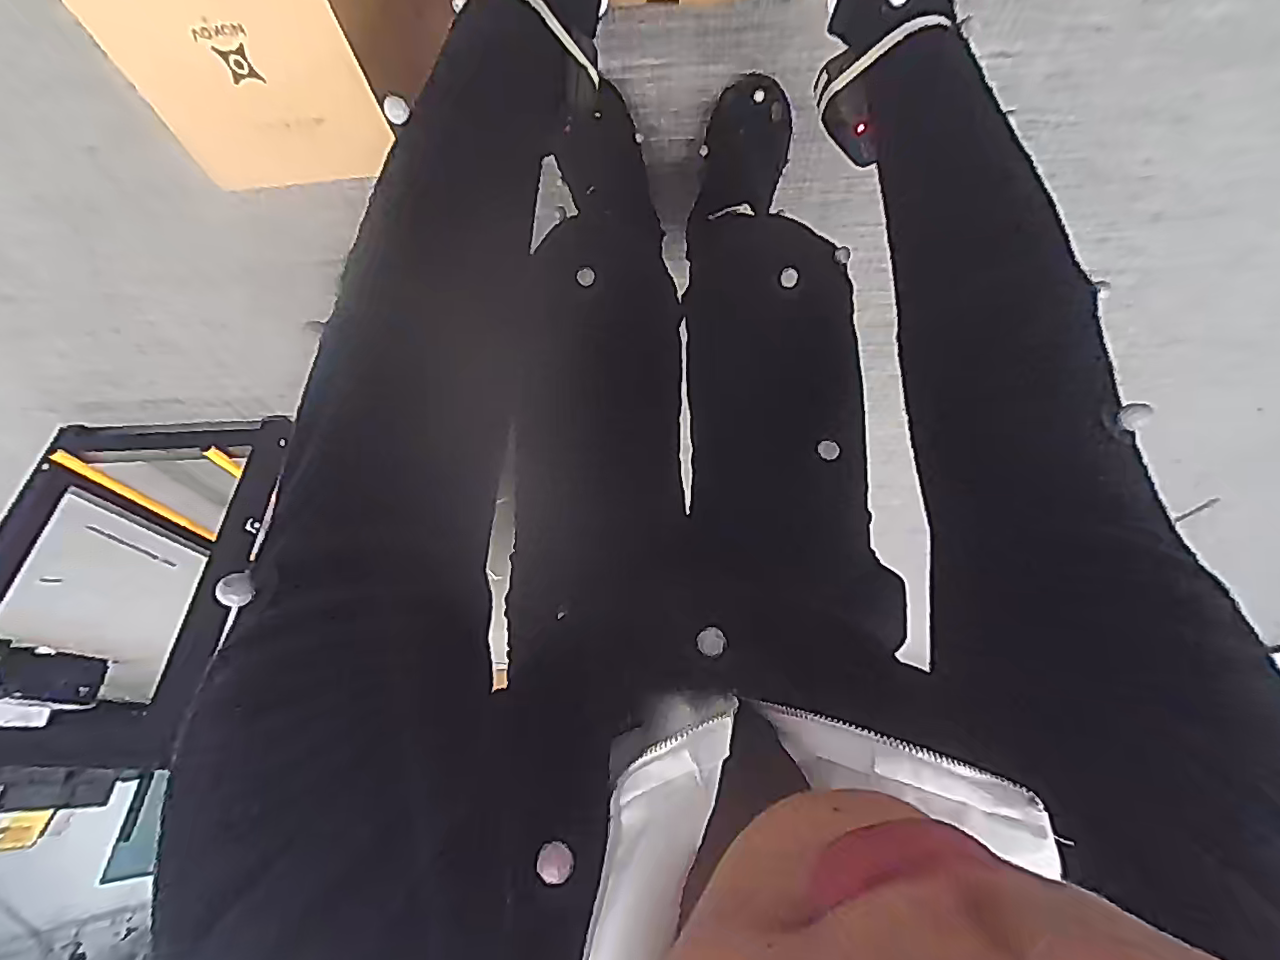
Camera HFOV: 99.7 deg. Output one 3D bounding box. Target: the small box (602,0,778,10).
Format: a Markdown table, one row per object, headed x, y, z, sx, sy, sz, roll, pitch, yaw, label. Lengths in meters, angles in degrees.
| x | y | z | sx | sy | sz | roll | pitch | yaw | label |
| --- | --- | --- | --- | --- | --- | --- | --- | --- | --- |
| 0.044 | -0.524 | 0.430 | 0.168 | 0.176 | 0.179 | -2 | 153 | 3 | small box |

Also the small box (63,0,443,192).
| x | y | z | sx | sy | sz | roll | pitch | yaw | label |
| --- | --- | --- | --- | --- | --- | --- | --- | --- | --- |
| -0.268 | -0.352 | 0.398 | 0.168 | 0.176 | 0.179 | -2 | 153 | 6 | small box |
